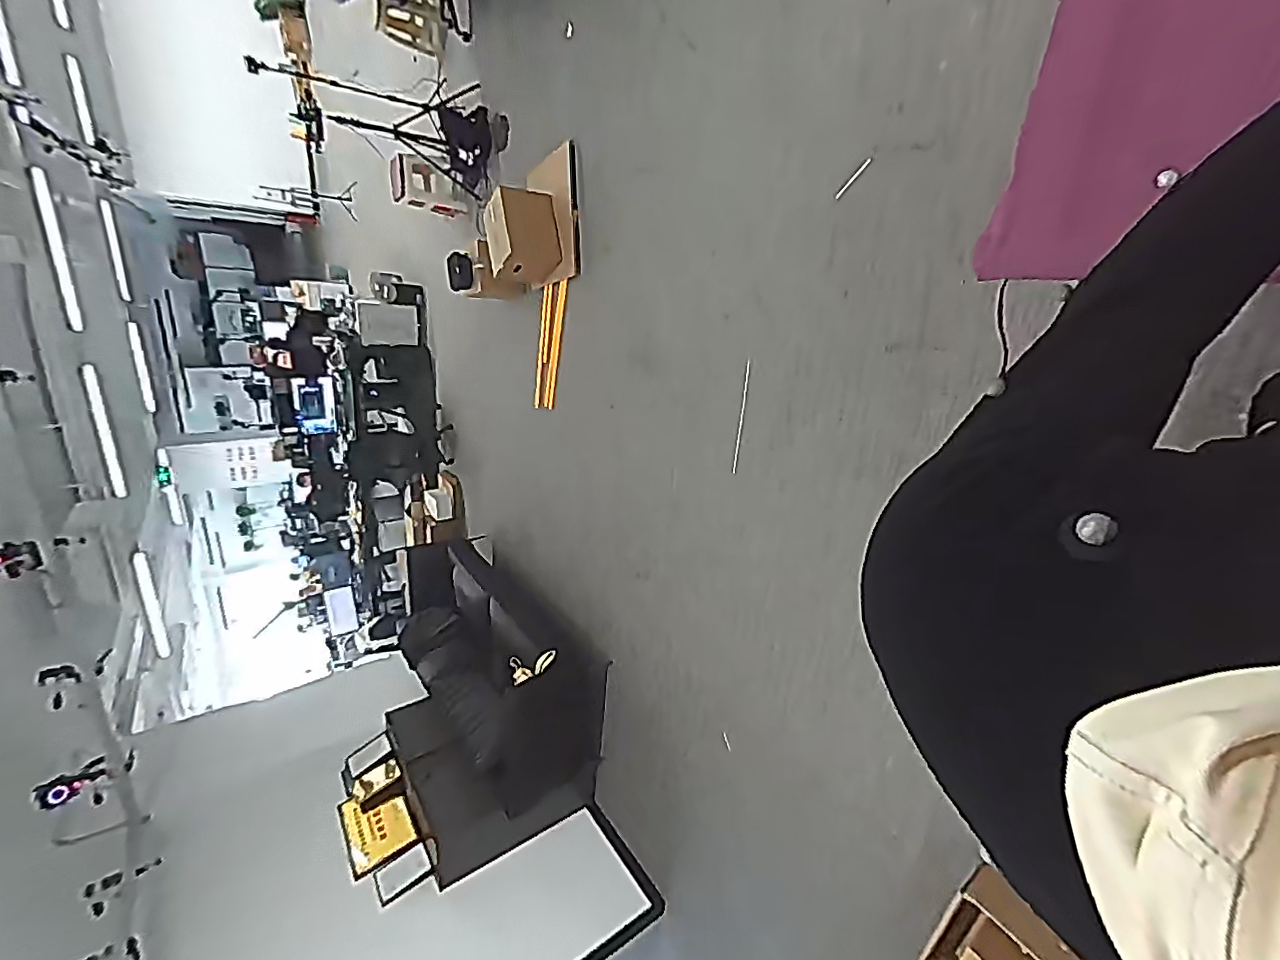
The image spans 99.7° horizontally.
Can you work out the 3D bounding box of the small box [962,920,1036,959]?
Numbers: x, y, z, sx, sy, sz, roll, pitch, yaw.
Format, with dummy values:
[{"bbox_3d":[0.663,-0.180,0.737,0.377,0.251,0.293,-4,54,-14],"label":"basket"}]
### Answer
[{"bbox_3d":[1.023,1.430,1.545,0.168,0.176,0.179,33,123,45],"label":"small box"}]
